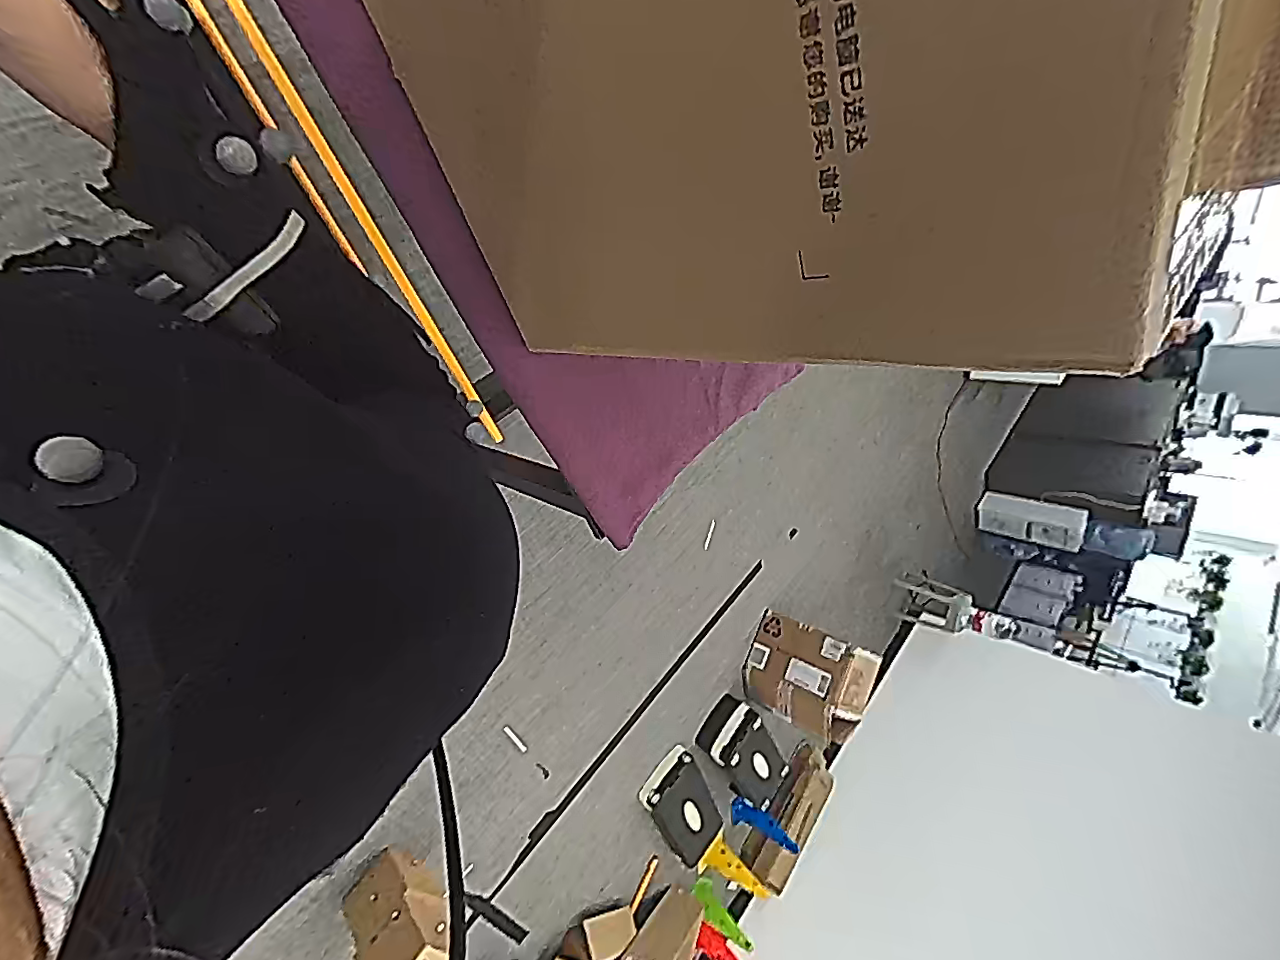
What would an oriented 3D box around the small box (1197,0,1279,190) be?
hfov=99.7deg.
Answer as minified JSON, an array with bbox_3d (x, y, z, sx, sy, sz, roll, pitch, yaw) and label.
[{"bbox_3d":[0.478,-0.301,0.329,0.168,0.176,0.179,-46,128,-25],"label":"small box"}]

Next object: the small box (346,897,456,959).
[{"bbox_3d":[-0.624,1.237,1.408,0.168,0.176,0.179,-47,130,-24],"label":"small box"}]
